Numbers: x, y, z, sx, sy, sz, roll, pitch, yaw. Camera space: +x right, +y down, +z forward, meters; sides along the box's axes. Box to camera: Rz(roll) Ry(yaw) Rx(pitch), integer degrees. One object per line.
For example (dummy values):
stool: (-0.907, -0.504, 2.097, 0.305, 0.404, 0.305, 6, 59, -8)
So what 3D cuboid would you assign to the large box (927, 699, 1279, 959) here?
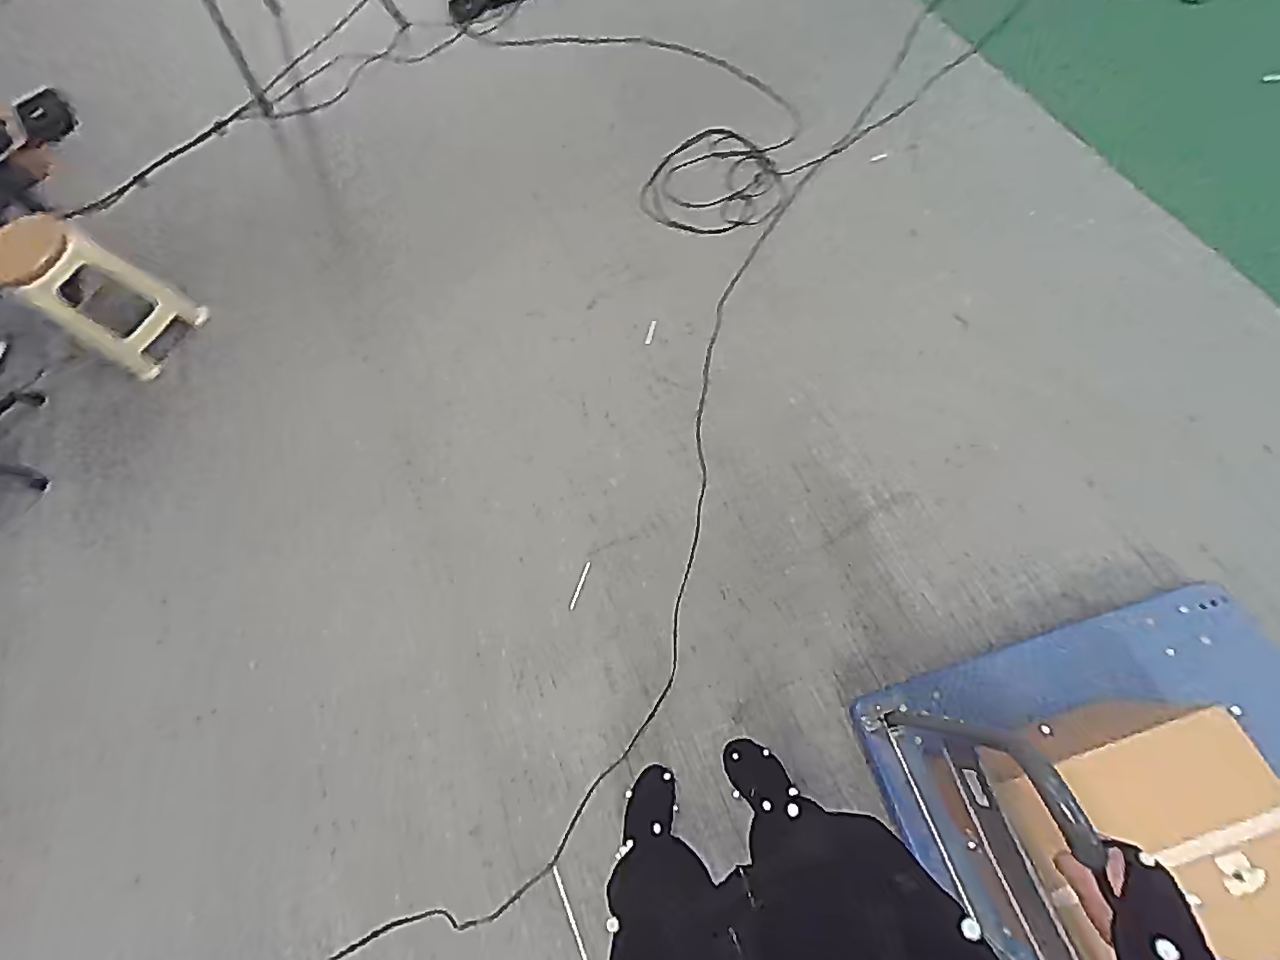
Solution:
large box: (0.824, 0.616, 0.967, 0.408, 0.320, 0.320, -20, 68, 0)
